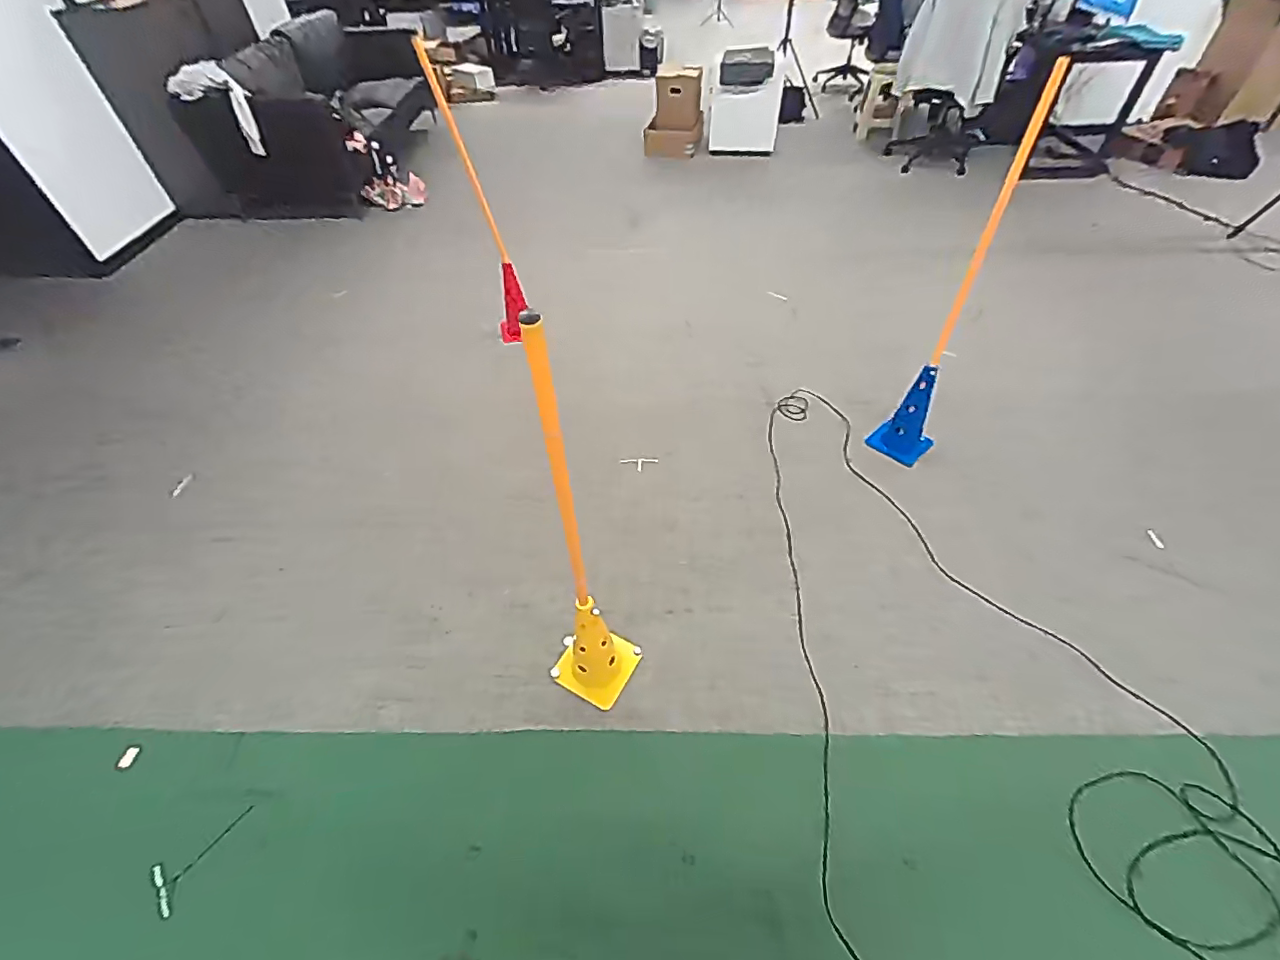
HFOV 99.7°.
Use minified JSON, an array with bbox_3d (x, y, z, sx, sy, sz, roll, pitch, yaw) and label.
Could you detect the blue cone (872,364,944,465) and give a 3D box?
[{"bbox_3d":[1.016,-0.260,1.983,0.193,0.380,0.192,-35,54,-29],"label":"blue cone"}]
